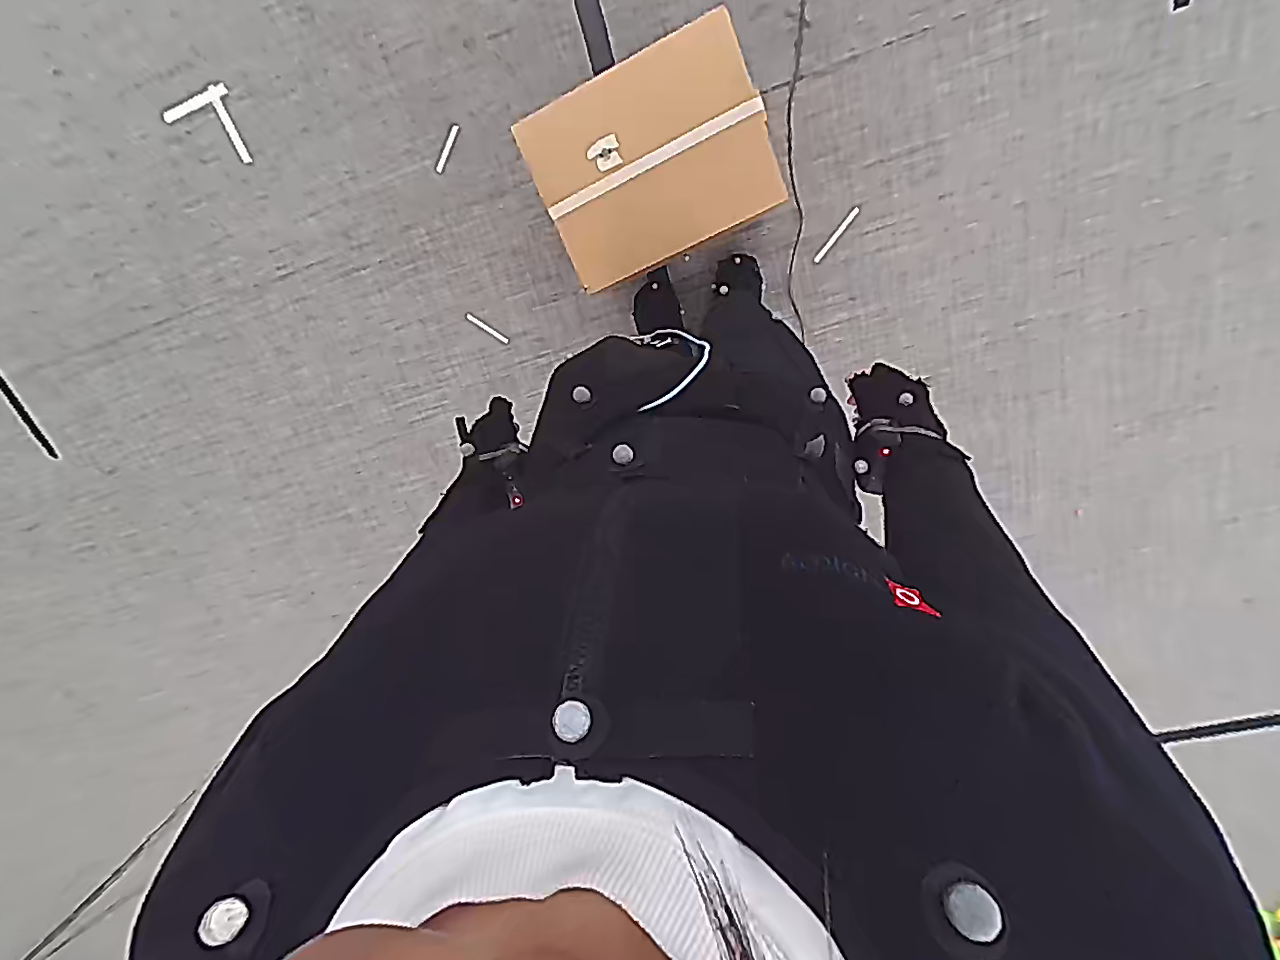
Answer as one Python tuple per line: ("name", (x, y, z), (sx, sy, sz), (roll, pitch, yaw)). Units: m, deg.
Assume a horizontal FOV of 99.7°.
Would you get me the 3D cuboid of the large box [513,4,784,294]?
("large box", (0.029, -0.614, 1.088), (0.408, 0.320, 0.320), (-21, 107, 13))
